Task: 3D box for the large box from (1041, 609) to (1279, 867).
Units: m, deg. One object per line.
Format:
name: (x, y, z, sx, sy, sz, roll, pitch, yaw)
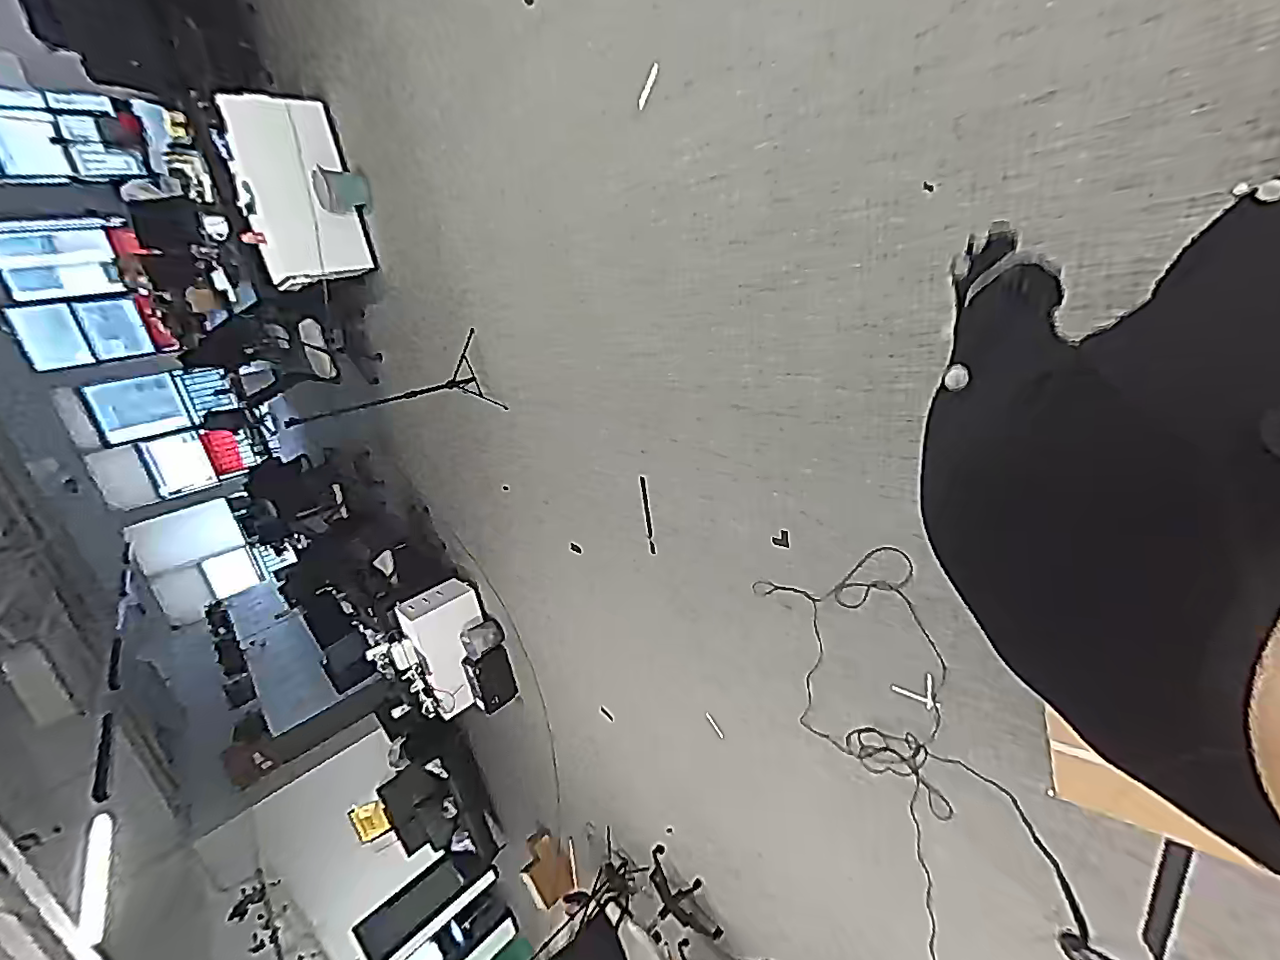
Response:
large box: (1.151, 0.514, 1.148, 0.408, 0.320, 0.320, 2, 112, 50)
